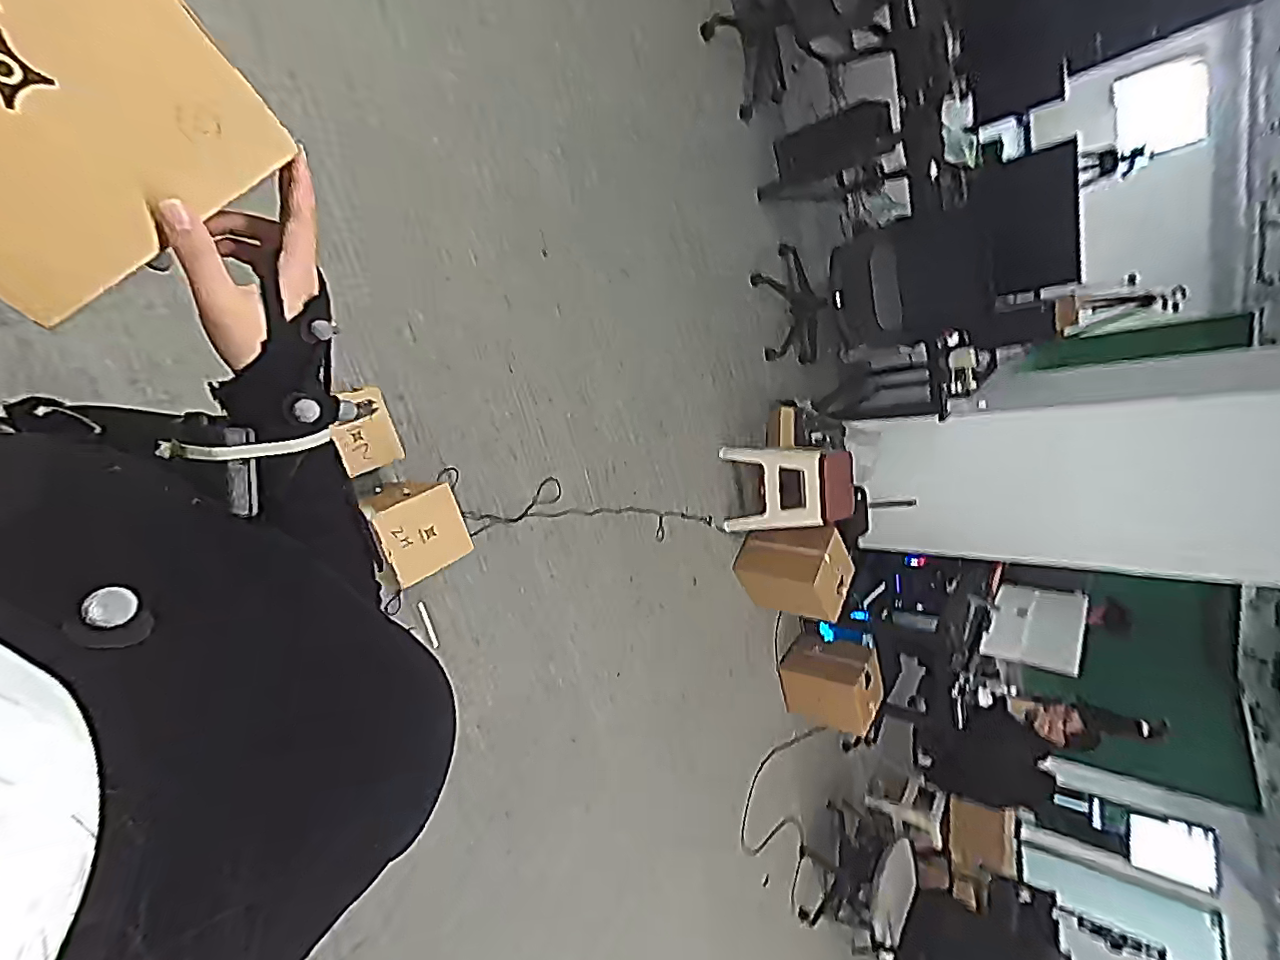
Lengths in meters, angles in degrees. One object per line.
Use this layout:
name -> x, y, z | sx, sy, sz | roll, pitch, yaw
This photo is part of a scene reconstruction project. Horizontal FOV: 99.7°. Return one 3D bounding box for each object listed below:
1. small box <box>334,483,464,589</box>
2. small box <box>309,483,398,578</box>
small box -> -0.519, 0.111, 1.166 | 0.179, 0.176, 0.168 | -31, 111, -43
small box -> -0.641, 0.110, 1.278 | 0.179, 0.176, 0.168 | -29, 110, -43
